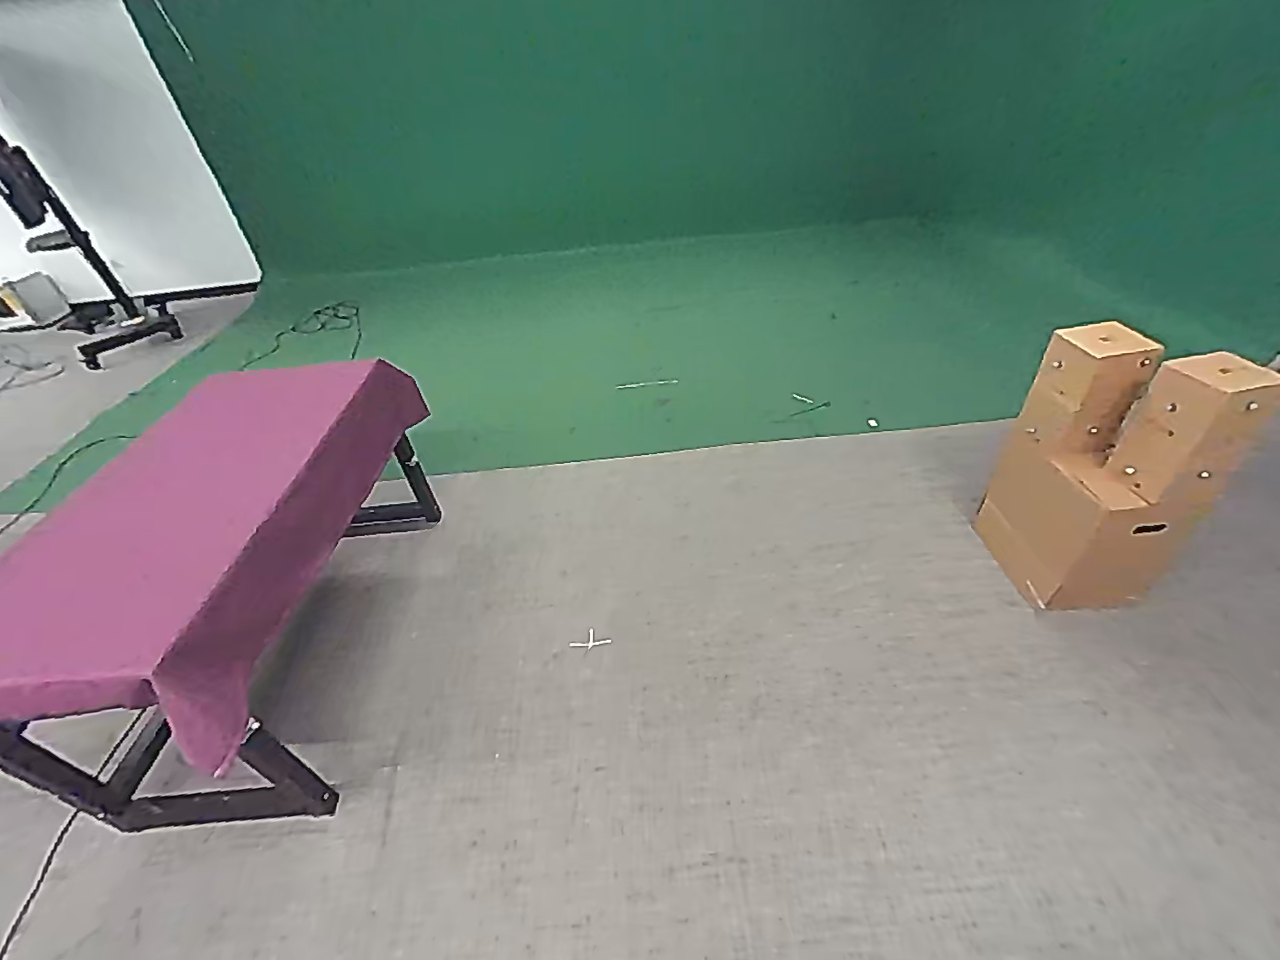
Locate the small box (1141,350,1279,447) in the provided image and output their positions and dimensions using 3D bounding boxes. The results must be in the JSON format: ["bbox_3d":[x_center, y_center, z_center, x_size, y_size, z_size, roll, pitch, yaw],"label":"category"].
[{"bbox_3d":[1.379,-0.195,1.311,0.179,0.176,0.168,-9,39,-4],"label":"small box"}]

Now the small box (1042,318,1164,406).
[{"bbox_3d":[1.247,-0.320,1.480,0.179,0.176,0.168,-9,41,0],"label":"small box"}]
